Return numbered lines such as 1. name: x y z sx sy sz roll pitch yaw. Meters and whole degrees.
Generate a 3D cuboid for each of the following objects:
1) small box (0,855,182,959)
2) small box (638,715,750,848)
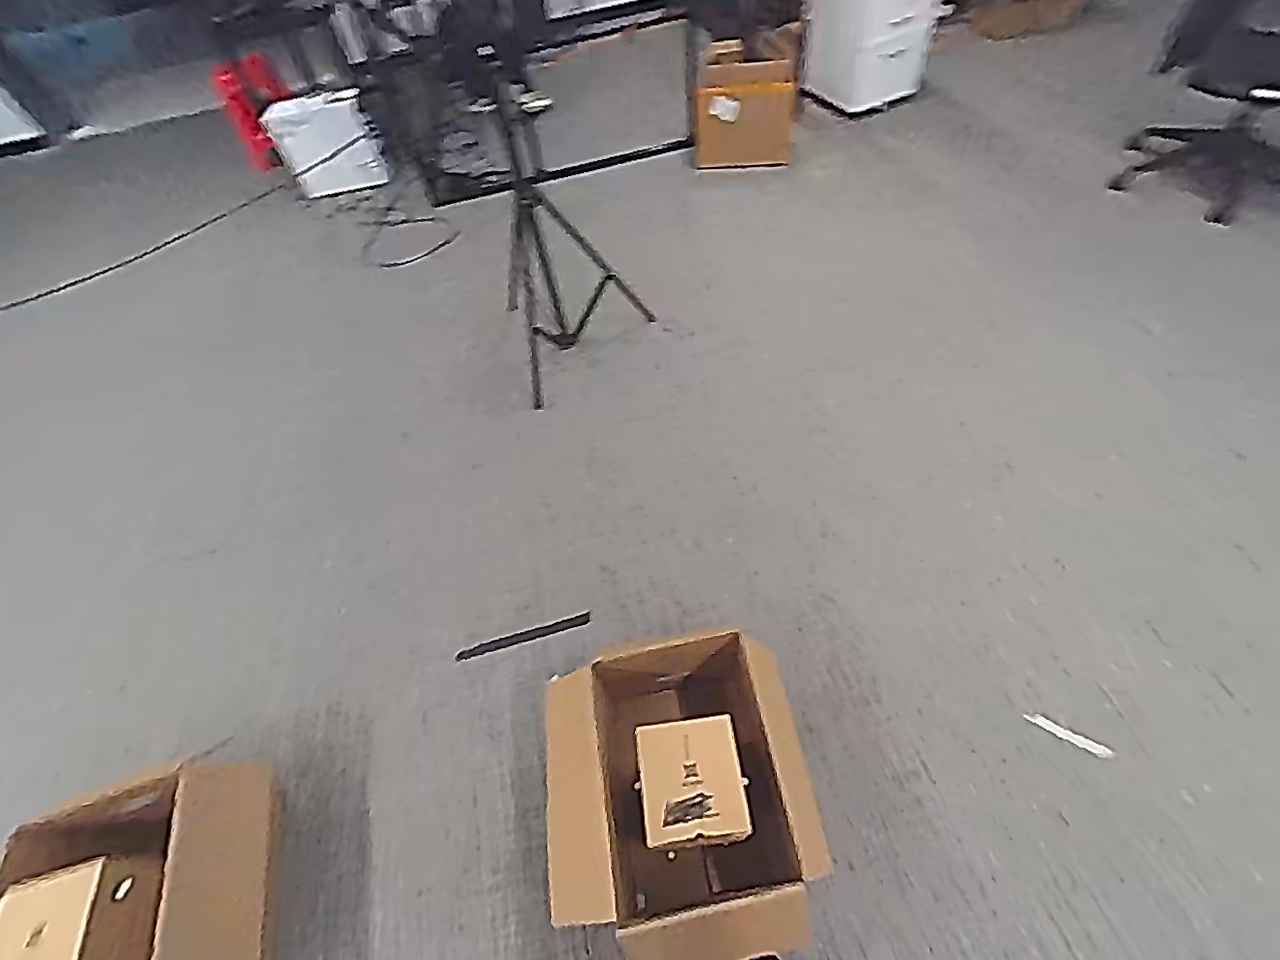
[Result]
1. small box: -0.947 0.774 0.933 0.168 0.176 0.179 -16 55 -3
2. small box: 0.091 0.535 0.951 0.168 0.176 0.179 -7 52 0
